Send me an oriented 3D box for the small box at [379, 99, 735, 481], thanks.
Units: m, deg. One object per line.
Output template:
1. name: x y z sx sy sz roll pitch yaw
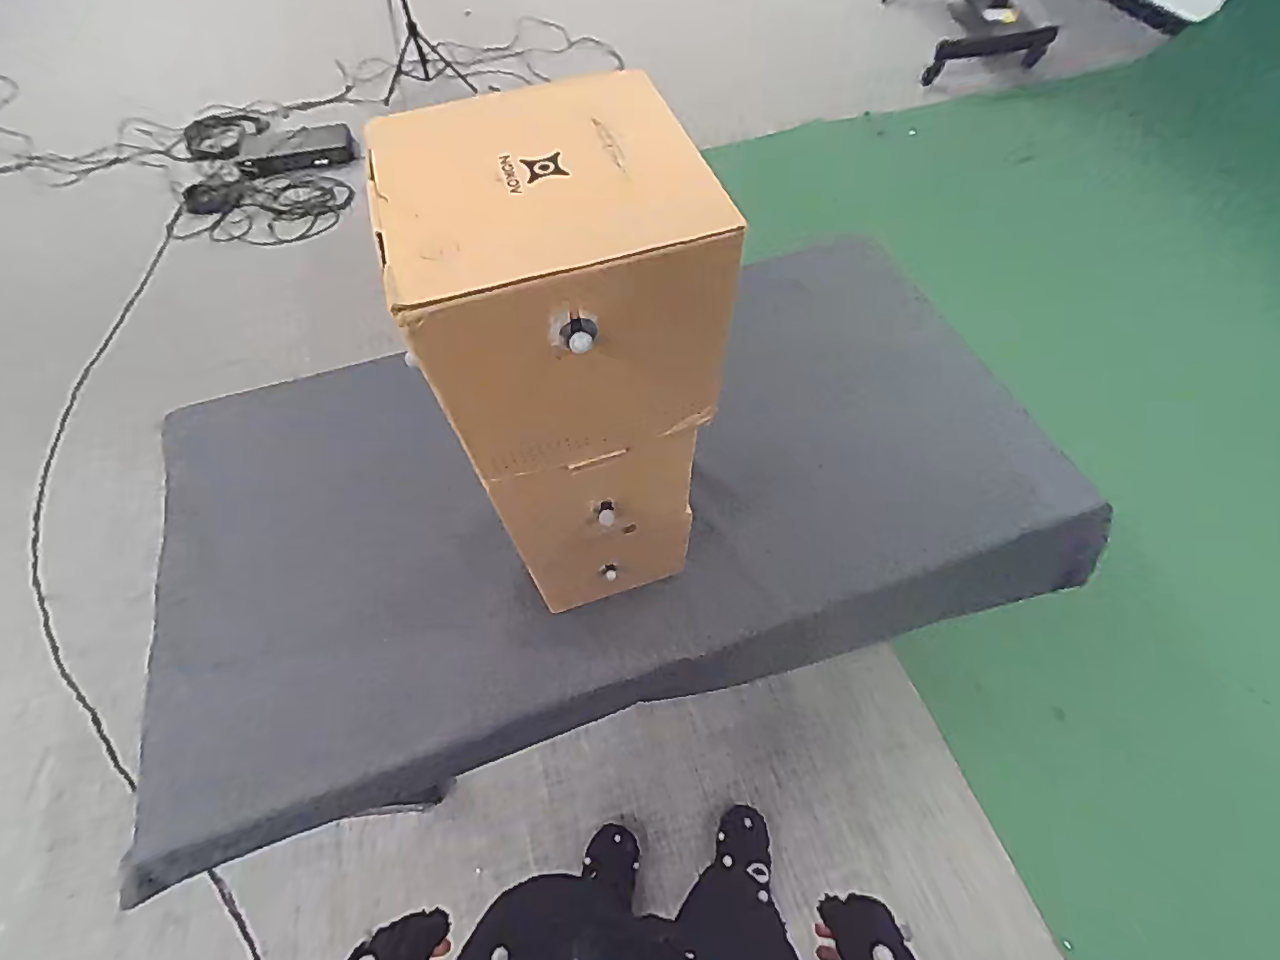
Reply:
1. small box: -0.053 -0.121 0.376 0.179 0.176 0.168 -16 62 -9

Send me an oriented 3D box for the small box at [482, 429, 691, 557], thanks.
1. small box: -0.059 -0.042 0.518 0.168 0.176 0.179 -18 61 -9

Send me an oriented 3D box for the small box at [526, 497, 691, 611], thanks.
1. small box: -0.051 0.039 0.659 0.179 0.176 0.168 -17 60 -8
